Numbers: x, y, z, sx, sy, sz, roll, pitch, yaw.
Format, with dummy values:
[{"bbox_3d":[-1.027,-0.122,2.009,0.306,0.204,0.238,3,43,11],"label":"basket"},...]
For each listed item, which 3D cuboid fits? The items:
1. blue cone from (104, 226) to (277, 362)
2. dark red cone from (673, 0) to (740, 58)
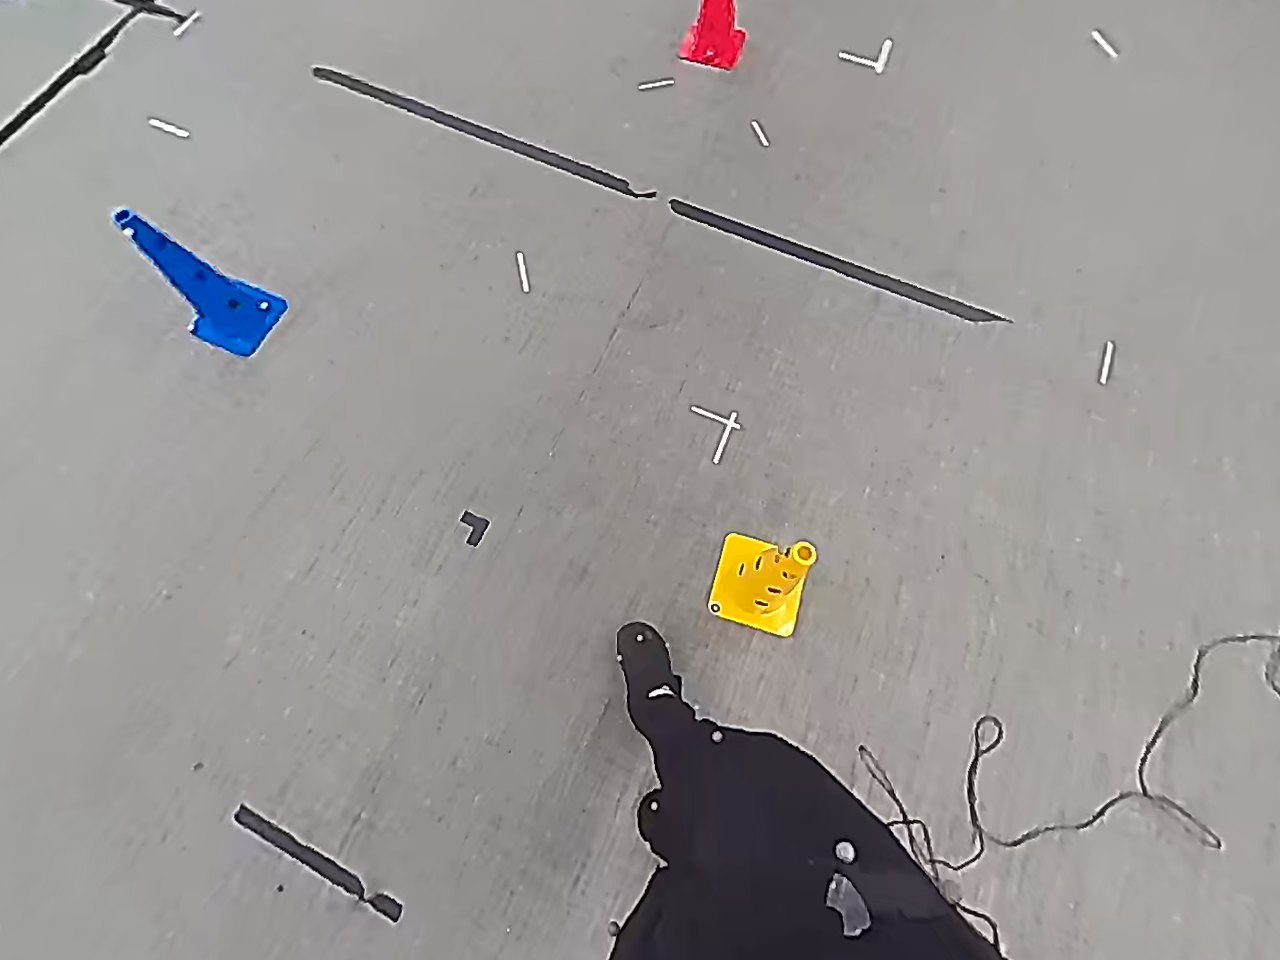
[{"bbox_3d":[-1.106,-0.474,1.318,0.193,0.380,0.192,23,73,8],"label":"blue cone"},{"bbox_3d":[0.230,-1.562,1.676,0.202,0.394,0.201,16,73,5],"label":"dark red cone"}]
